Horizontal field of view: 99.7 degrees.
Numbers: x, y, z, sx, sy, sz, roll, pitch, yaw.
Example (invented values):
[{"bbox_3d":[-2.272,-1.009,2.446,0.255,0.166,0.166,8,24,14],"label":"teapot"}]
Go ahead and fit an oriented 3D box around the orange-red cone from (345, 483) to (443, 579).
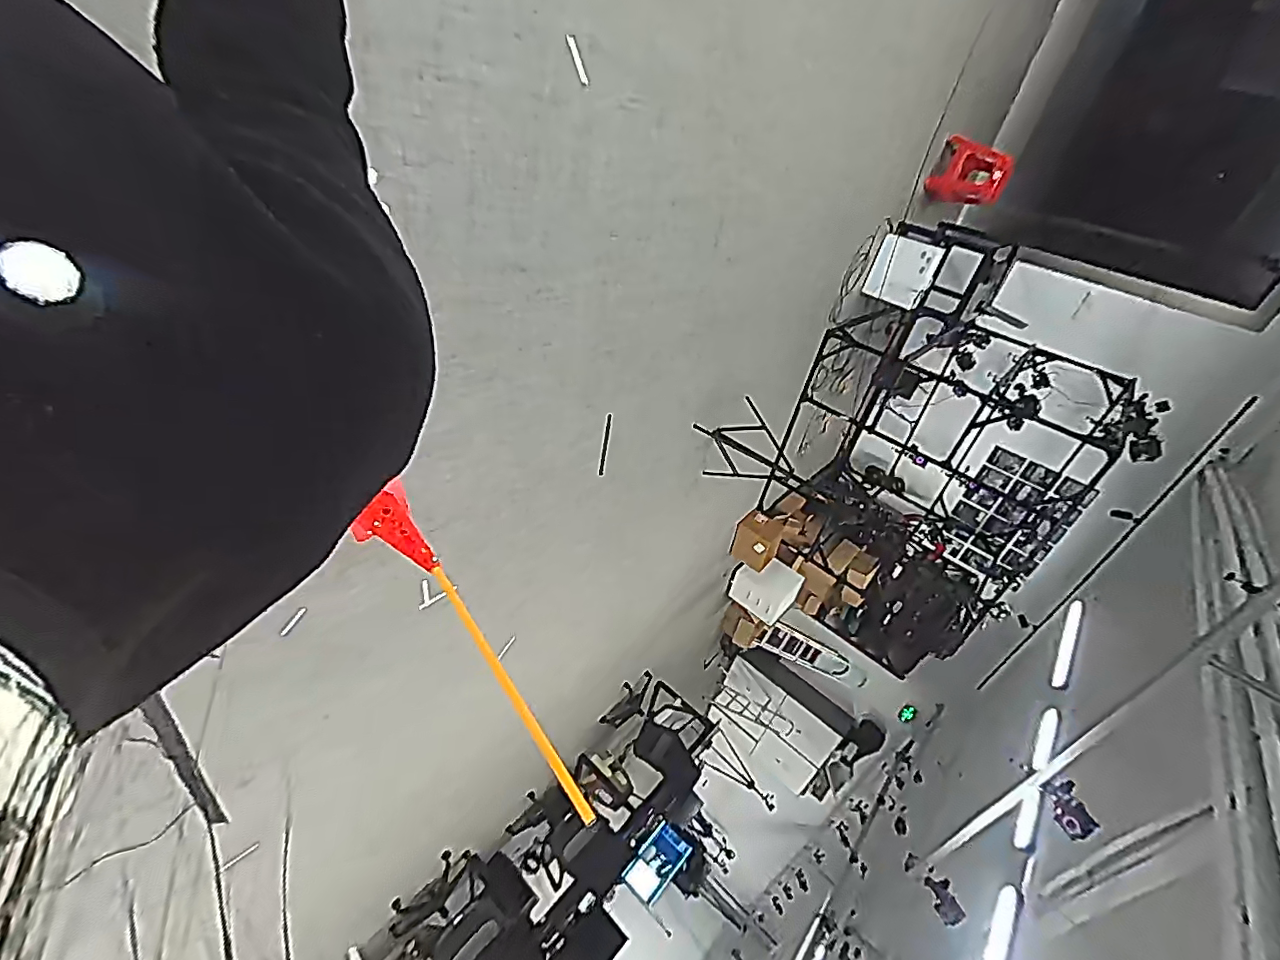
[{"bbox_3d":[-0.749,0.200,1.735,0.199,0.360,0.198,-35,147,-37],"label":"orange-red cone"}]
